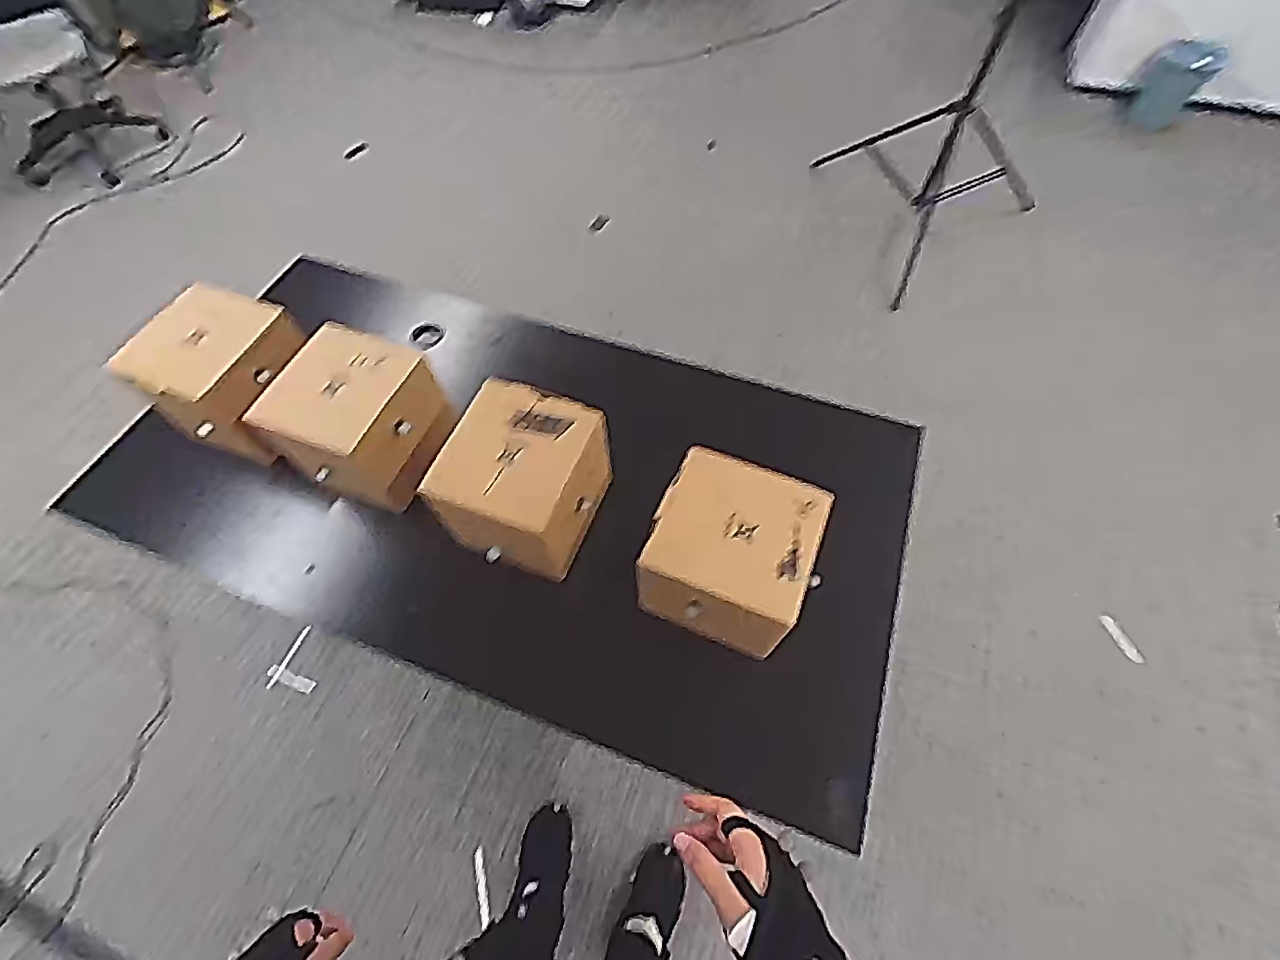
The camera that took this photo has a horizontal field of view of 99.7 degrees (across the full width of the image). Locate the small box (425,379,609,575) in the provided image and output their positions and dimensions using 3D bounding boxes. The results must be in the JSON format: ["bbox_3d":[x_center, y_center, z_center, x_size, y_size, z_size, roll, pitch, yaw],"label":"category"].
[{"bbox_3d":[-0.148,0.001,0.727,0.168,0.176,0.179,19,64,11],"label":"small box"}]

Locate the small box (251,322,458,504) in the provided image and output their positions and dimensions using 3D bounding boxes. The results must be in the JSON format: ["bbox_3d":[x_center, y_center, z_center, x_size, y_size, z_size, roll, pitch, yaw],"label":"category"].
[{"bbox_3d":[-0.391,-0.089,0.781,0.168,0.176,0.179,19,63,10],"label":"small box"}]

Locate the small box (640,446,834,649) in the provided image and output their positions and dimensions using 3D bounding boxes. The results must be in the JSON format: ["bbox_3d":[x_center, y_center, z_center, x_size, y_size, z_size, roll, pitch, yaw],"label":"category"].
[{"bbox_3d":[0.114,0.090,0.672,0.179,0.176,0.168,21,63,14],"label":"small box"}]

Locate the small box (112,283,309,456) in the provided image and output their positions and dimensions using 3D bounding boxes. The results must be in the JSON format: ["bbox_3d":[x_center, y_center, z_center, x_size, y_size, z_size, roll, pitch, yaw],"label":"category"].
[{"bbox_3d":[-0.614,-0.163,0.828,0.168,0.176,0.179,18,62,10],"label":"small box"}]
